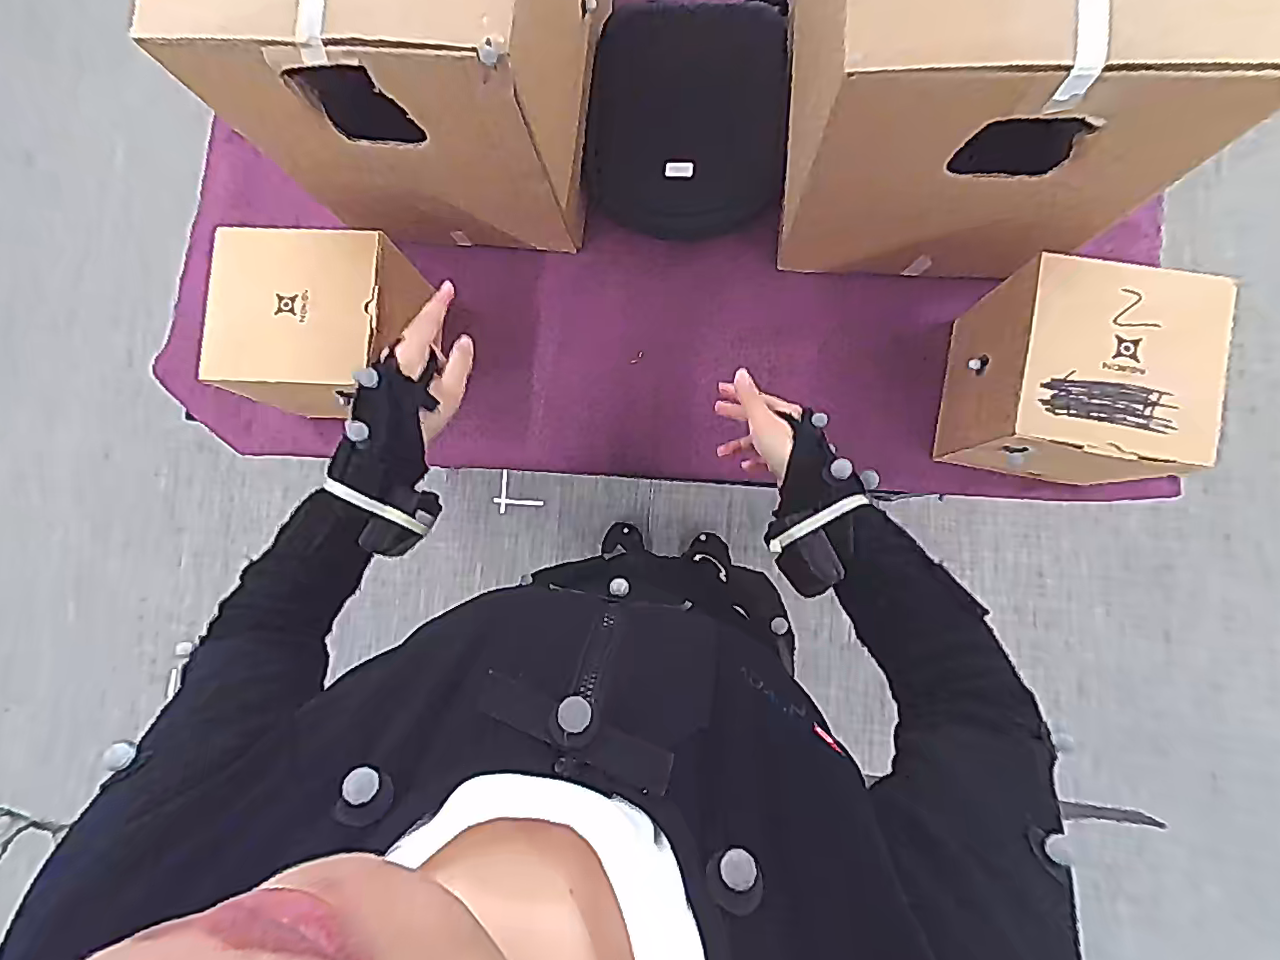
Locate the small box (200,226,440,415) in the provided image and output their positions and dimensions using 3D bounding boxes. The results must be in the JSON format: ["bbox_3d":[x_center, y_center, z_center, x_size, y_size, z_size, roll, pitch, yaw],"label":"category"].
[{"bbox_3d":[-0.359,-0.175,0.637,0.179,0.176,0.168,2,84,1],"label":"small box"}]

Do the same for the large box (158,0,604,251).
[{"bbox_3d":[-0.221,-0.521,0.590,0.320,0.320,0.408,6,88,6],"label":"large box"}]
